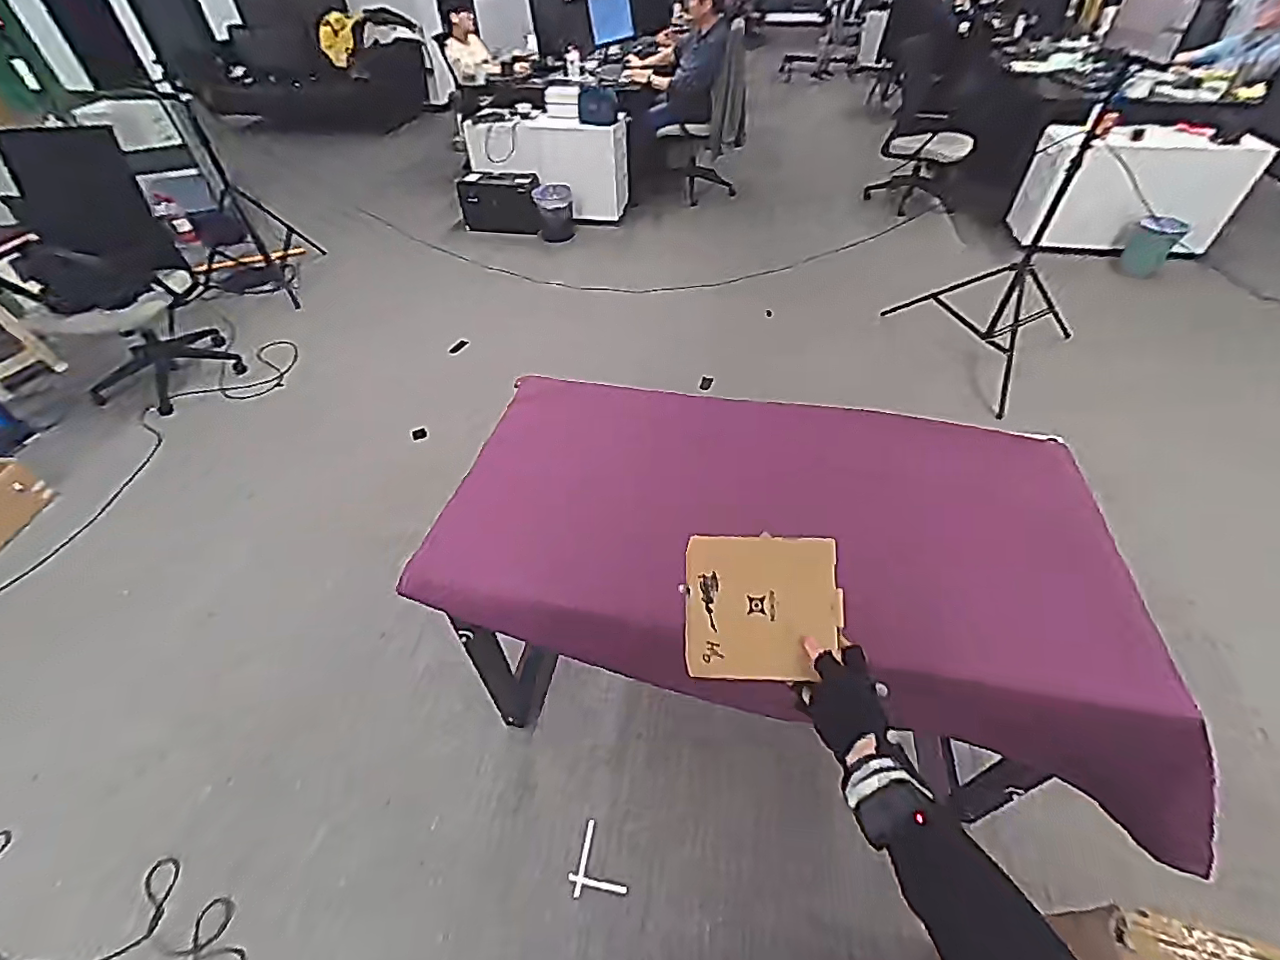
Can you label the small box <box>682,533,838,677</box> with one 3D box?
[{"bbox_3d":[0.148,0.163,0.722,0.179,0.176,0.168,1,77,3],"label":"small box"}]
